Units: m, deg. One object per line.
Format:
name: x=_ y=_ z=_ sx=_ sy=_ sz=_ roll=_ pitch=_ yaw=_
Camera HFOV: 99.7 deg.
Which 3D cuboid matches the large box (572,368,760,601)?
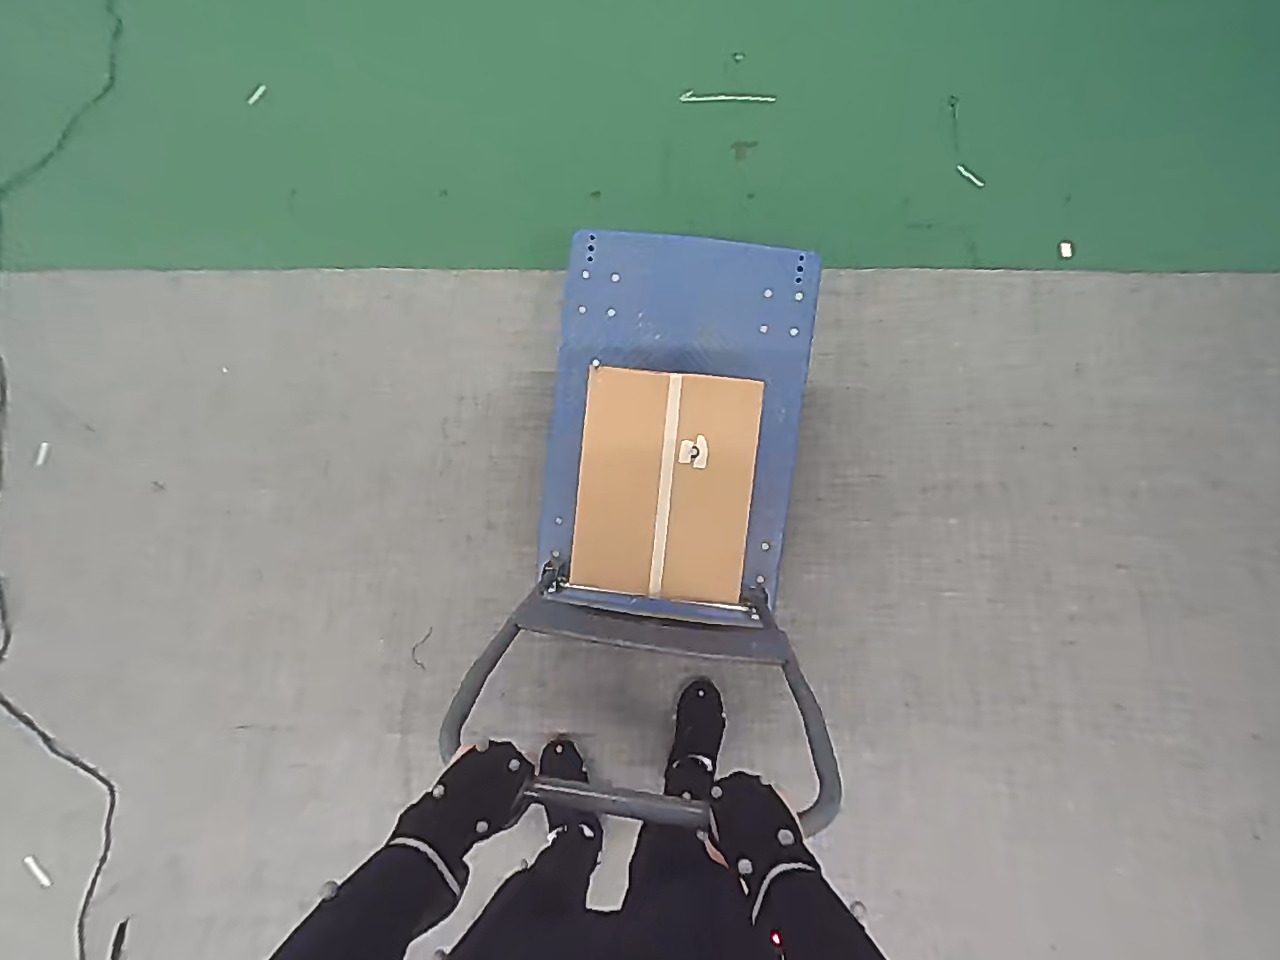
large box: x=0.056 y=0.005 z=1.120 sx=0.320 sy=0.320 sz=0.408 roll=6 pitch=92 yaw=3
